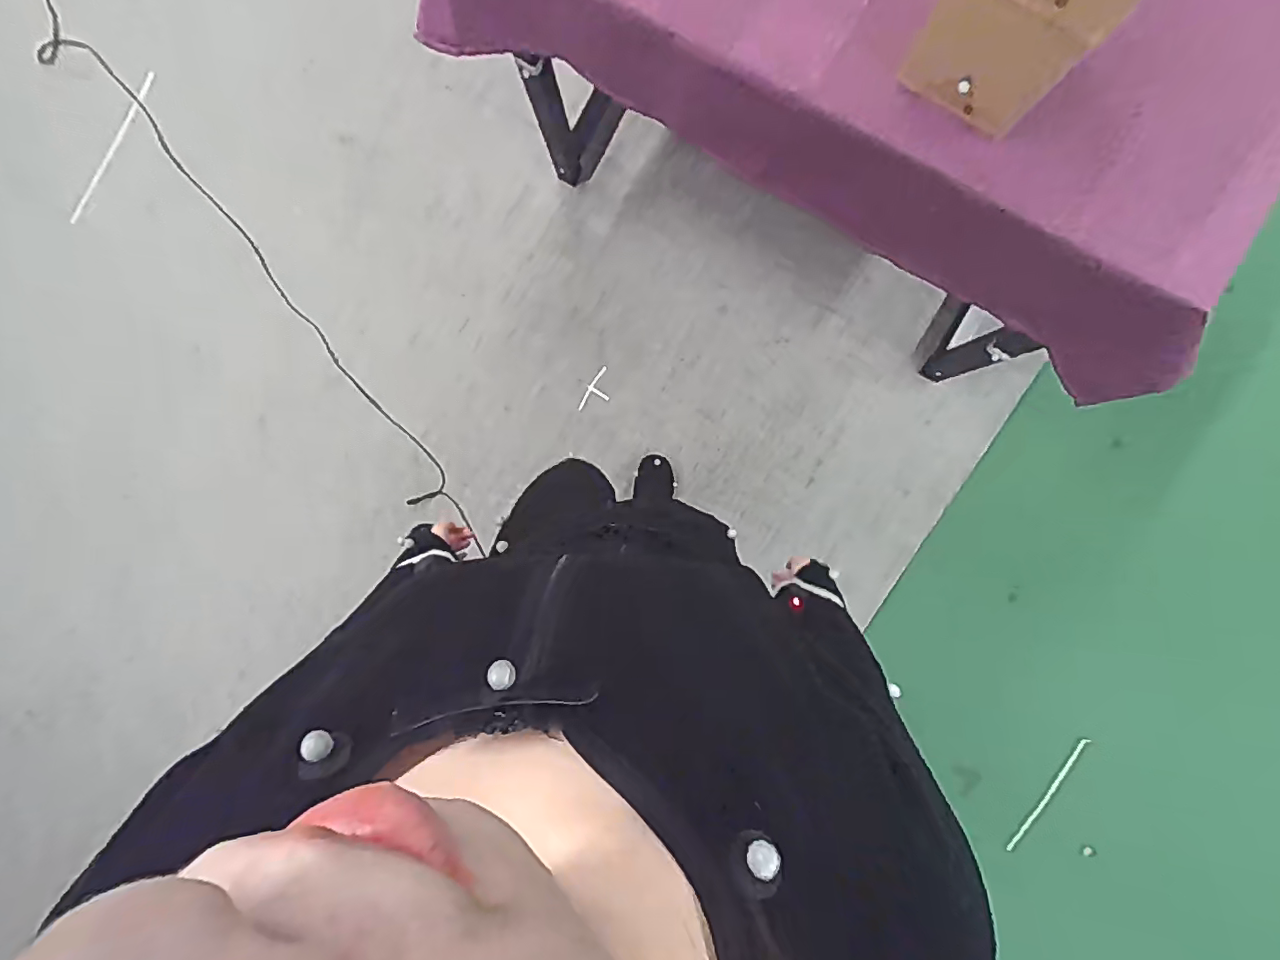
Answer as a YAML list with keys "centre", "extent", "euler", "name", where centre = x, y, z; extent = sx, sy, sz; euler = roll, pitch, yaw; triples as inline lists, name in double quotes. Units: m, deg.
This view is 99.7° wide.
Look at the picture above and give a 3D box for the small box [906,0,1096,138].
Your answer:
- centre: [0.462, -0.573, 0.654]
  extent: [0.168, 0.176, 0.179]
  euler: [32, 93, 1]
  name: "small box"
